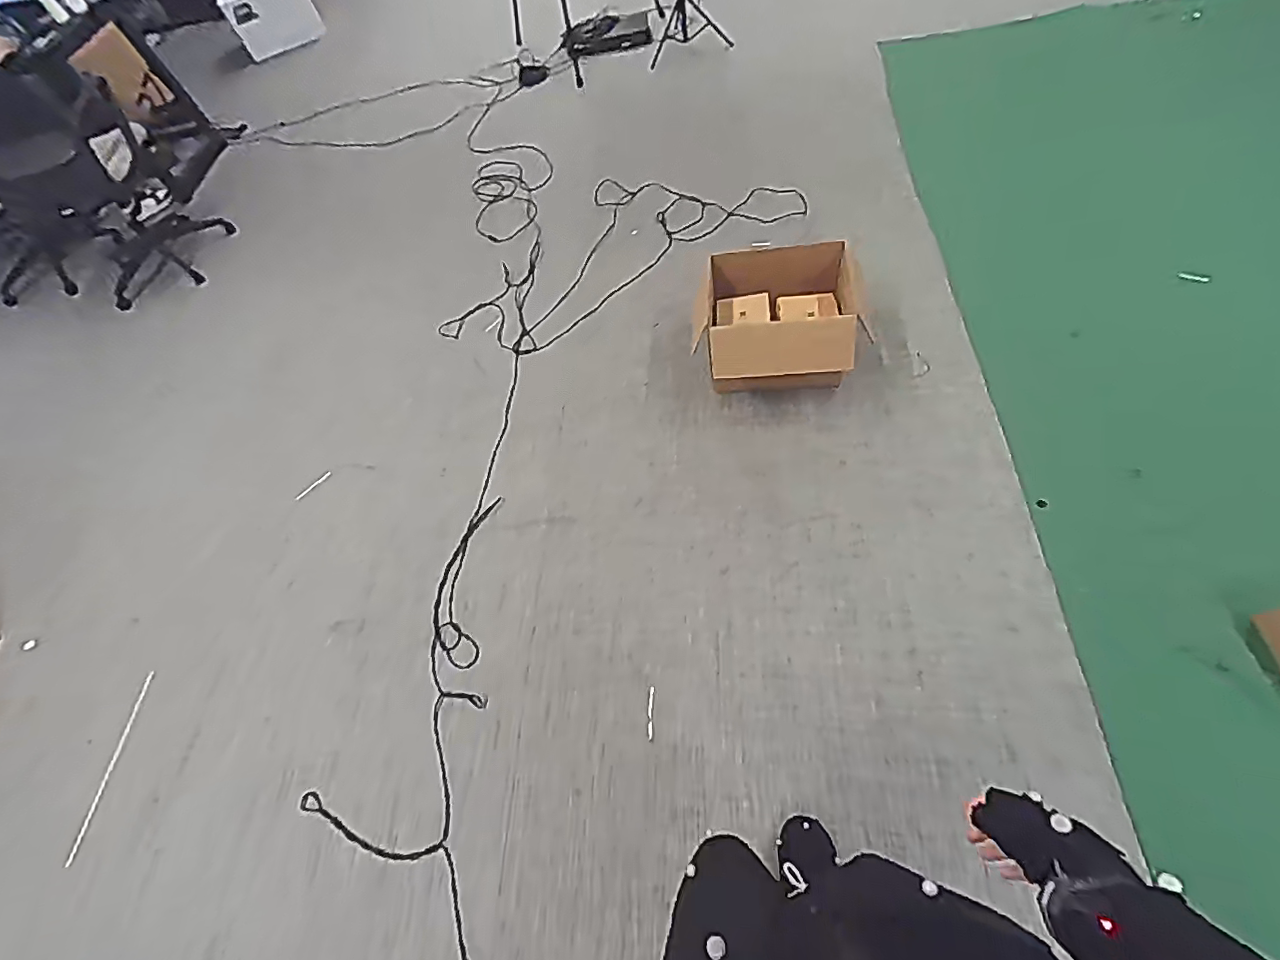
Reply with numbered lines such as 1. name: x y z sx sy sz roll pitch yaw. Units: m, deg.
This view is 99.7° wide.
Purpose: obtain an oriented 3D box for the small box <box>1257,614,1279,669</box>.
1. small box: 1.454 0.351 1.101 0.168 0.176 0.179 -5 59 8
